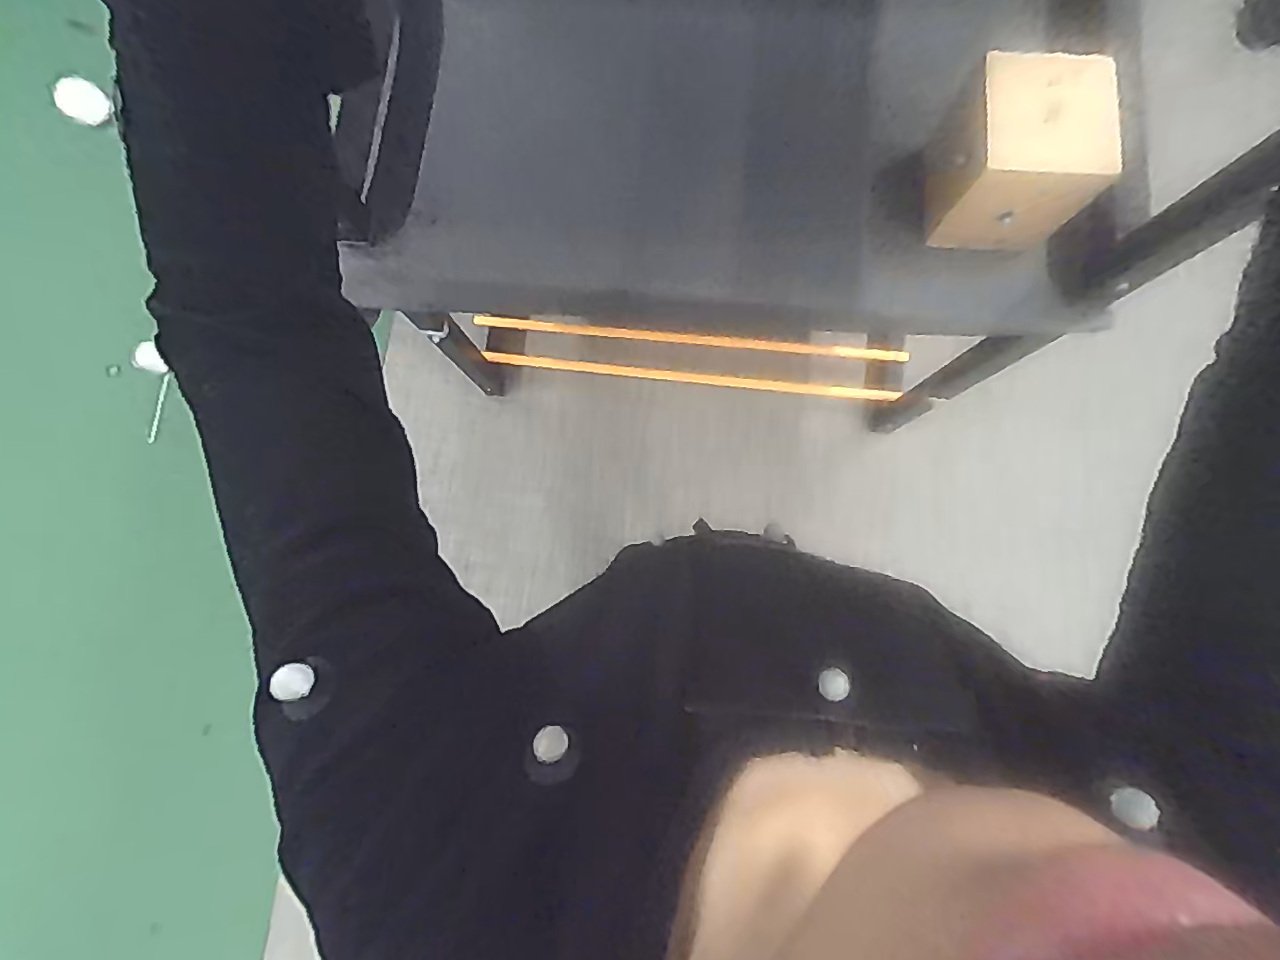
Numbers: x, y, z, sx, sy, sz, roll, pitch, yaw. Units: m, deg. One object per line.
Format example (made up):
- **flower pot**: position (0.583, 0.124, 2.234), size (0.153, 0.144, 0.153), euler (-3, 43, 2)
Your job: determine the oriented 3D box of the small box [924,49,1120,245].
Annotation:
- **small box**: position (0.524, -0.459, 0.767), size (0.168, 0.176, 0.179), euler (4, 80, 3)
